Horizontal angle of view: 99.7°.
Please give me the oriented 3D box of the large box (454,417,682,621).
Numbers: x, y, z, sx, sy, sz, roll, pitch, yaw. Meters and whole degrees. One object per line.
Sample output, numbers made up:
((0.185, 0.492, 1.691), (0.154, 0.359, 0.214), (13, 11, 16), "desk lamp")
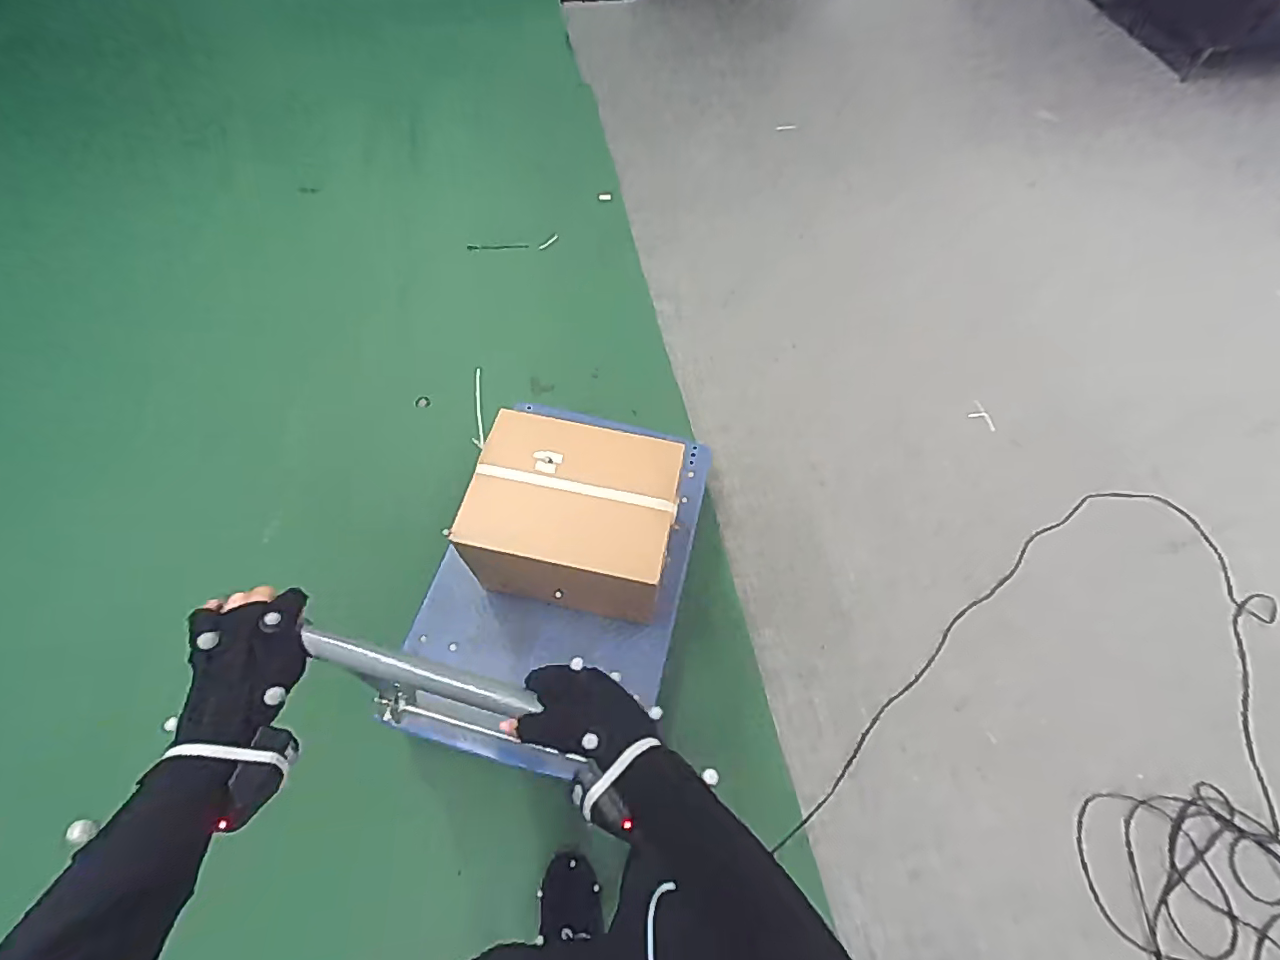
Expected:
((-0.135, 0.099, 1.214), (0.408, 0.320, 0.320), (11, 61, 4), "large box")
